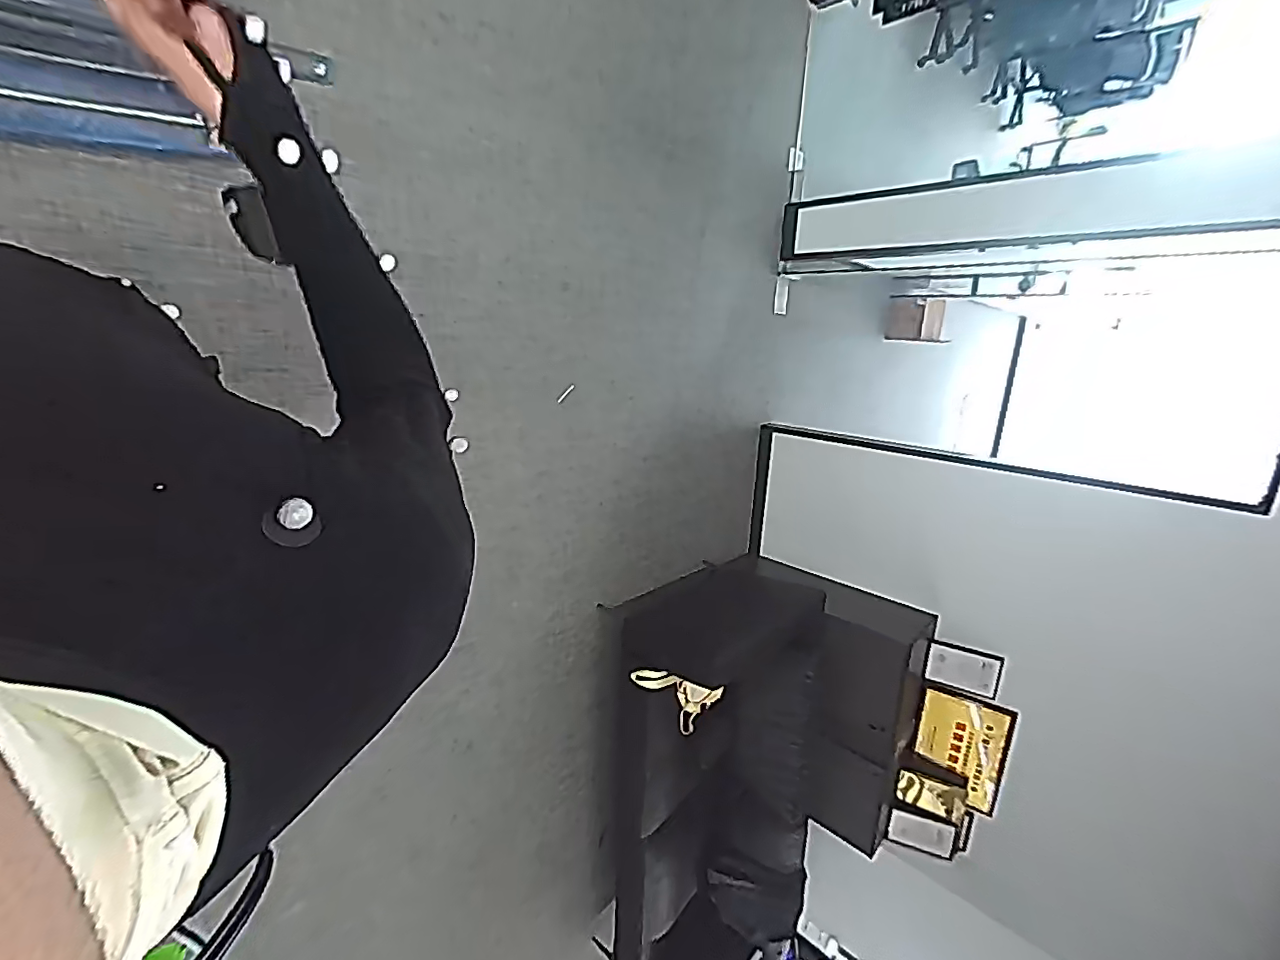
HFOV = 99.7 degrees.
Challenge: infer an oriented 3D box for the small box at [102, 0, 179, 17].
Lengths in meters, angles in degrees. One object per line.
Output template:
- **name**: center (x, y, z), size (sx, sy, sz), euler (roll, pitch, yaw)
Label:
- **small box**: center (-0.869, -0.905, 0.872), size (0.168, 0.176, 0.179), euler (-18, 115, -43)
